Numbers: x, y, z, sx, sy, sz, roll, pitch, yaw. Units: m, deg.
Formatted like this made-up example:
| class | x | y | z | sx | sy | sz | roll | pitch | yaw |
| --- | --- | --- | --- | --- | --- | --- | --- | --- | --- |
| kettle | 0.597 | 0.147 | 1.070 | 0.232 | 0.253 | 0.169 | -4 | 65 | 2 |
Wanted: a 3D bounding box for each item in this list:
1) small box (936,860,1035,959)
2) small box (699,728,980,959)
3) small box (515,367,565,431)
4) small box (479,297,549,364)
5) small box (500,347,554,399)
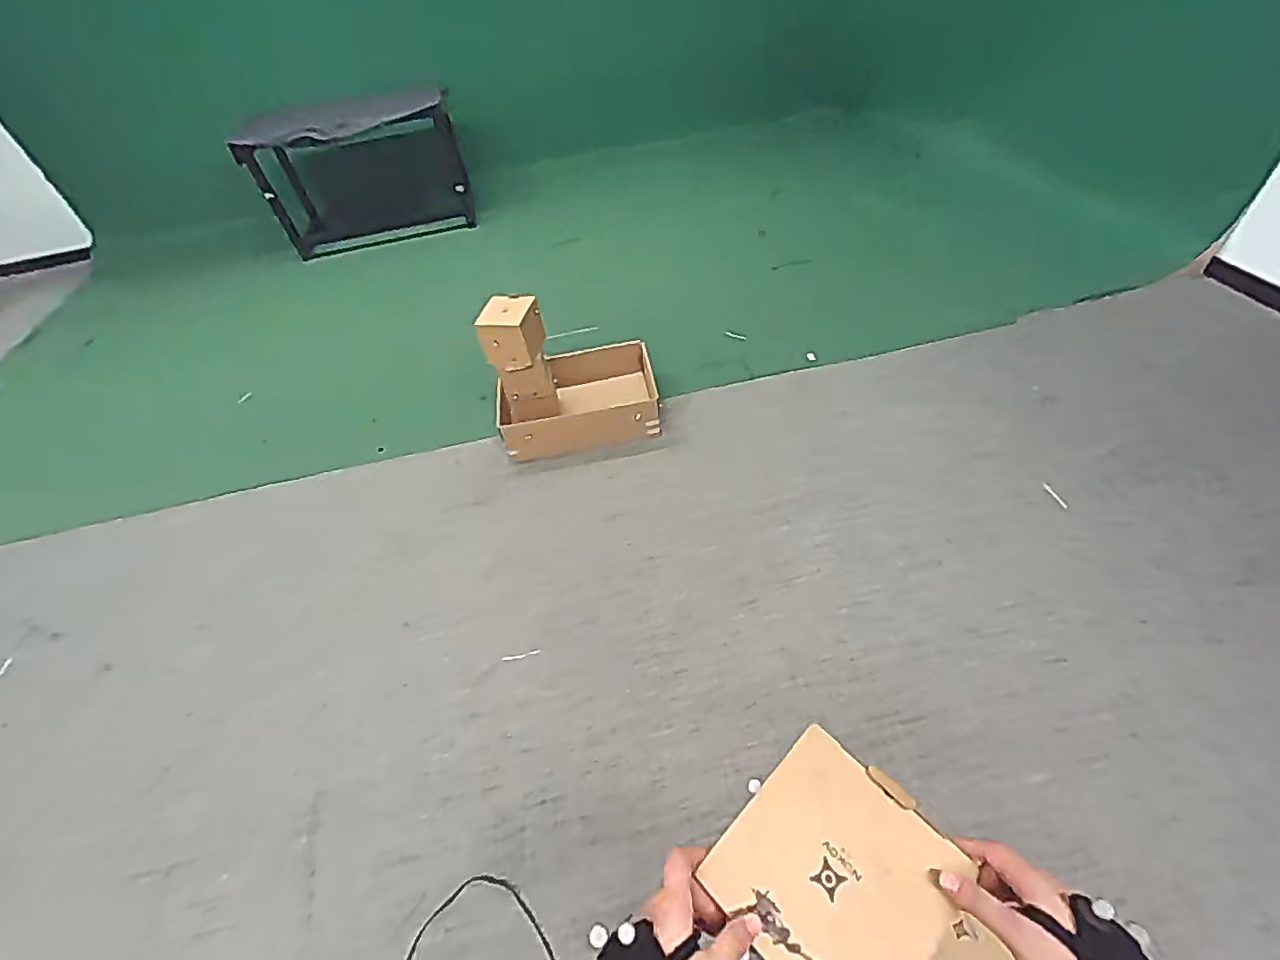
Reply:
| class | x | y | z | sx | sy | sz | roll | pitch | yaw |
| --- | --- | --- | --- | --- | --- | --- | --- | --- | --- |
| small box | 0.515 | 0.766 | 0.908 | 0.179 | 0.176 | 0.168 | -14 | 47 | -3 |
| small box | 0.167 | 0.377 | 0.509 | 0.179 | 0.176 | 0.168 | -38 | 57 | -23 |
| small box | -0.403 | -0.323 | 2.164 | 0.168 | 0.176 | 0.179 | -13 | 48 | -3 |
| small box | -0.436 | -0.525 | 1.909 | 0.168 | 0.176 | 0.179 | 5 | 49 | 12 |
| small box | -0.423 | -0.422 | 2.035 | 0.168 | 0.176 | 0.179 | -11 | 47 | -3 |
